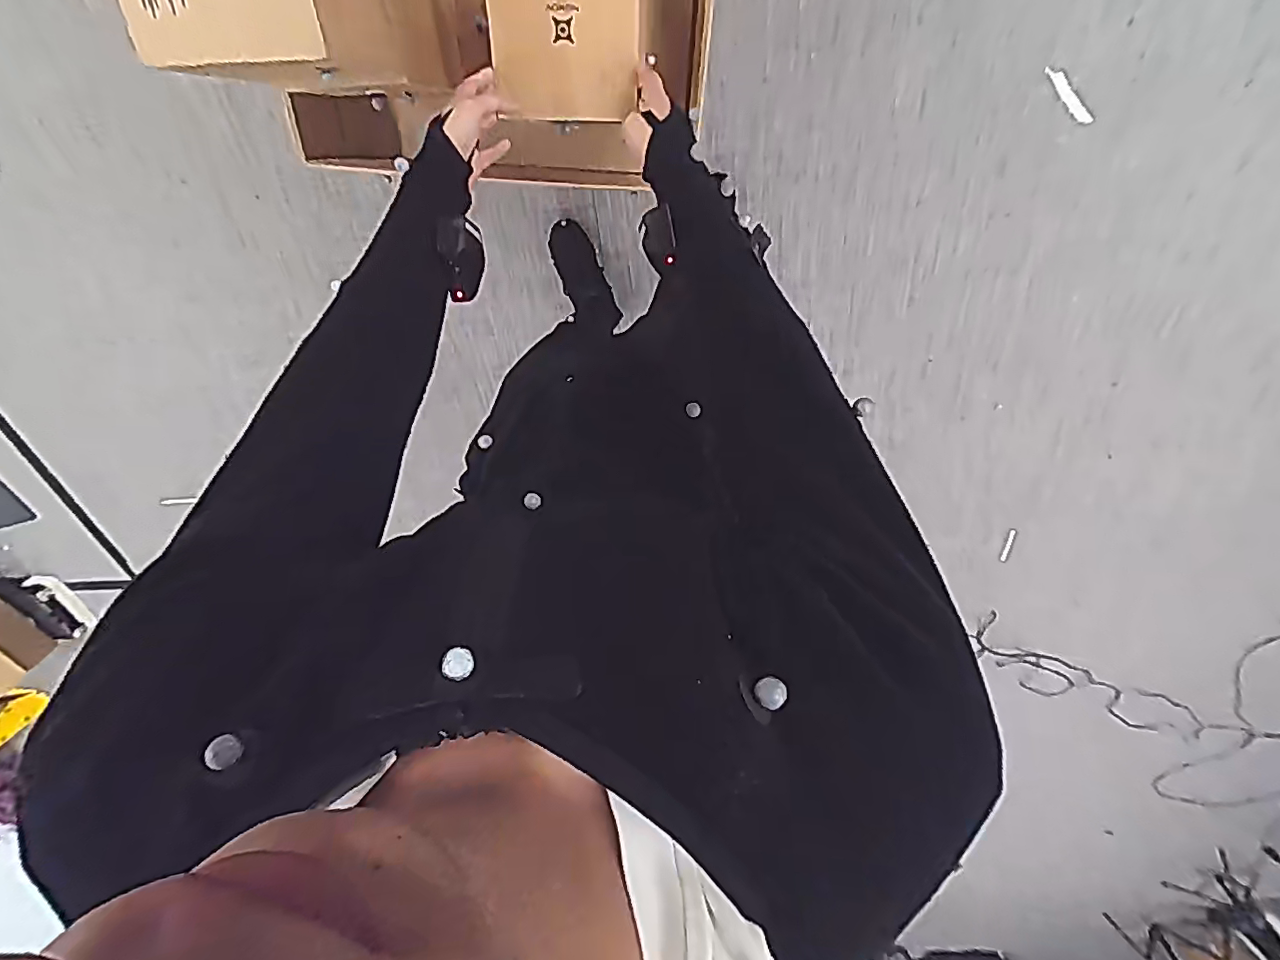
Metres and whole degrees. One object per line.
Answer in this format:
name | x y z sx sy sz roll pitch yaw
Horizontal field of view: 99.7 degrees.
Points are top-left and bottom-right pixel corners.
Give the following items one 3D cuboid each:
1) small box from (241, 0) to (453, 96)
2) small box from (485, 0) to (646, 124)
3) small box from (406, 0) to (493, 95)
small box | -0.342 -0.567 0.637 0.168 0.176 0.179 0 123 5
small box | -0.079 -0.535 0.648 0.168 0.176 0.179 2 123 2
small box | -0.326 -0.657 0.774 0.179 0.176 0.168 1 124 1
